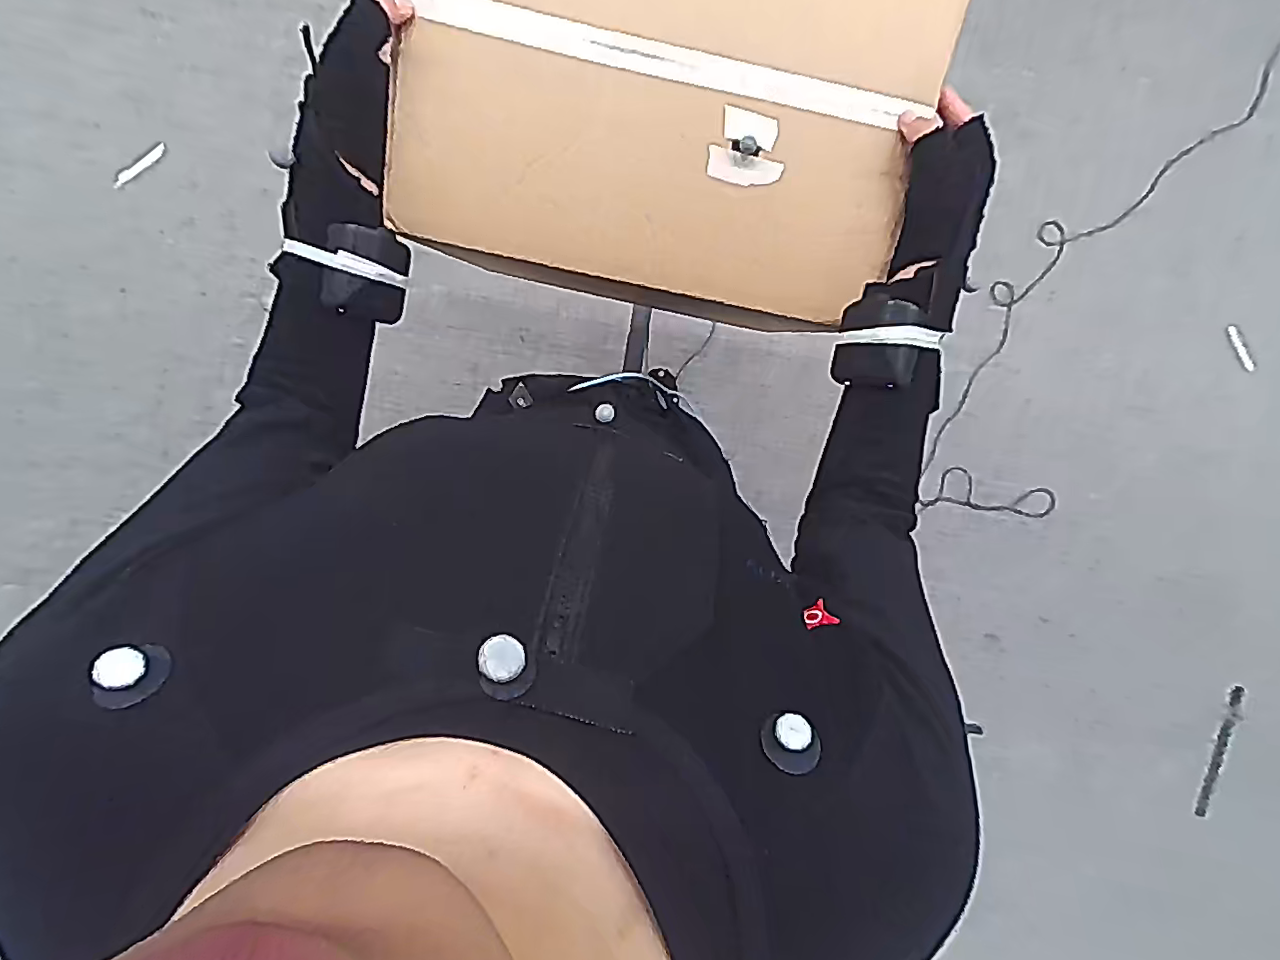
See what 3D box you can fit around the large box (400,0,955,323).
[{"bbox_3d":[0.019,-0.353,0.555,0.408,0.320,0.320,10,106,-5],"label":"large box"}]
